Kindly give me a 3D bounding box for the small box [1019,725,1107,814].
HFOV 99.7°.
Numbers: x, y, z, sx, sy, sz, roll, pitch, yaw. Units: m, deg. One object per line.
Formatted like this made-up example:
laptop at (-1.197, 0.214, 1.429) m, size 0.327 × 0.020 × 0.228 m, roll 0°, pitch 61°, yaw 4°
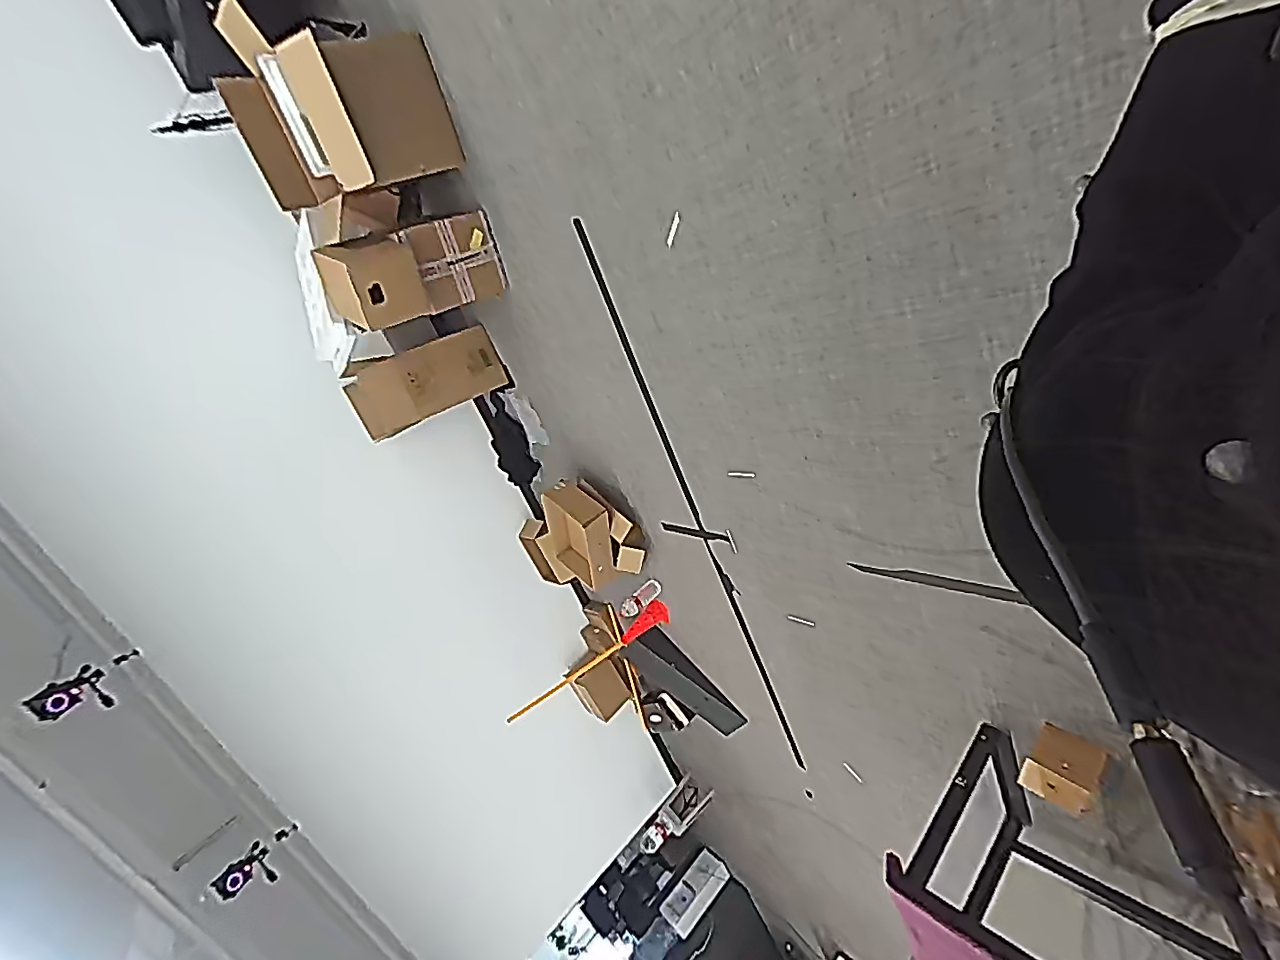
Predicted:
small box at (1.409, 0.952, 1.801) m, size 0.179 × 0.176 × 0.168 m, roll 22°, pitch 137°, yaw 41°
